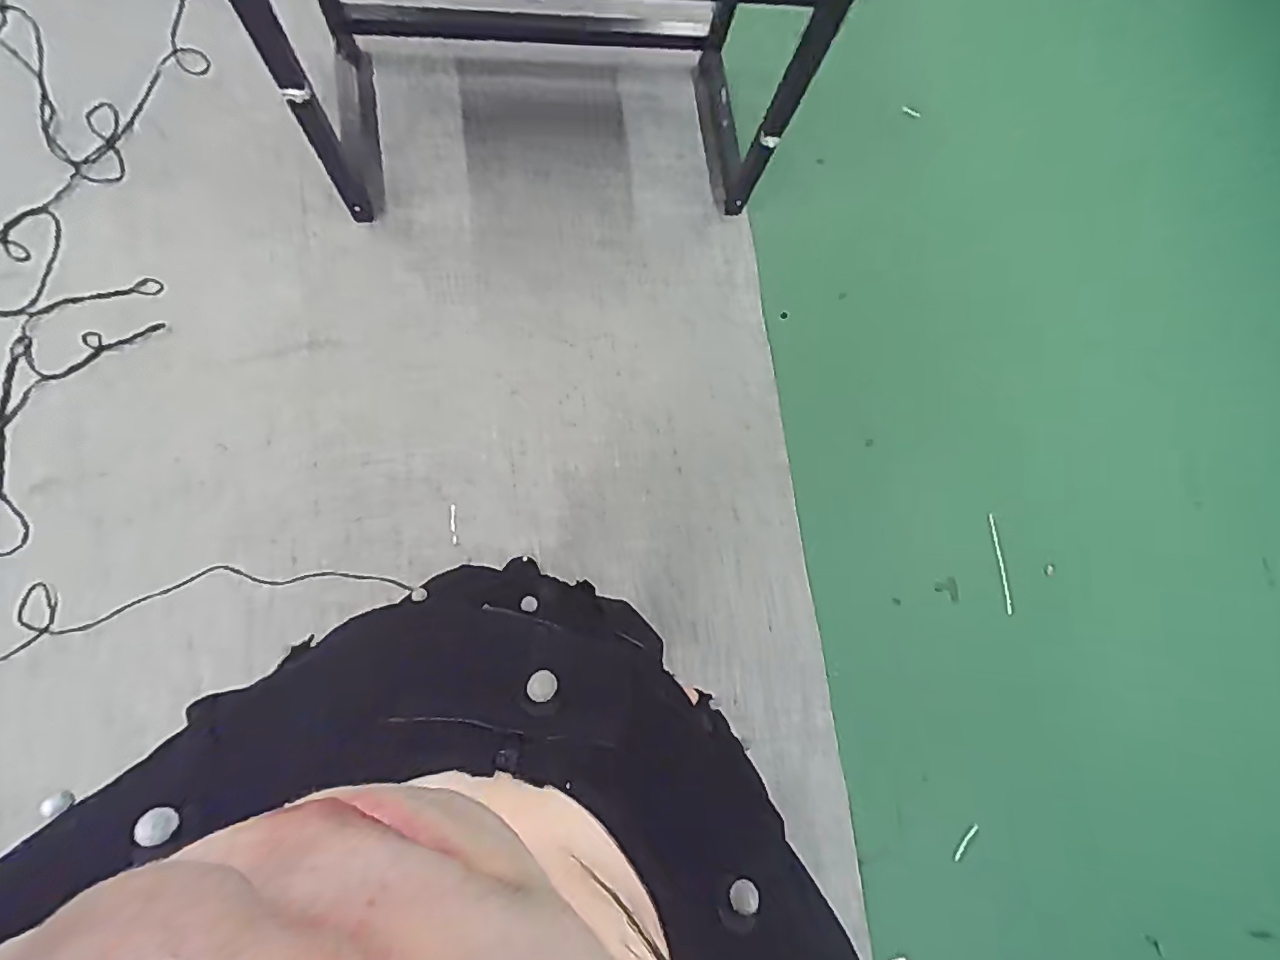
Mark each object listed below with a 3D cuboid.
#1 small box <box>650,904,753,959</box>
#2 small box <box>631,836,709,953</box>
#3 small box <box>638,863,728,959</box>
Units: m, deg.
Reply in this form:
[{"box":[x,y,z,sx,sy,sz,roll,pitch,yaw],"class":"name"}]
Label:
[{"box":[0.118,0.947,1.006,0.168,0.176,0.179,-4,81,-11],"class":"small box"},{"box":[0.073,1.004,1.326,0.168,0.176,0.179,-1,80,-9],"class":"small box"},{"box":[0.095,0.976,1.167,0.168,0.176,0.179,-4,80,-11],"class":"small box"}]
